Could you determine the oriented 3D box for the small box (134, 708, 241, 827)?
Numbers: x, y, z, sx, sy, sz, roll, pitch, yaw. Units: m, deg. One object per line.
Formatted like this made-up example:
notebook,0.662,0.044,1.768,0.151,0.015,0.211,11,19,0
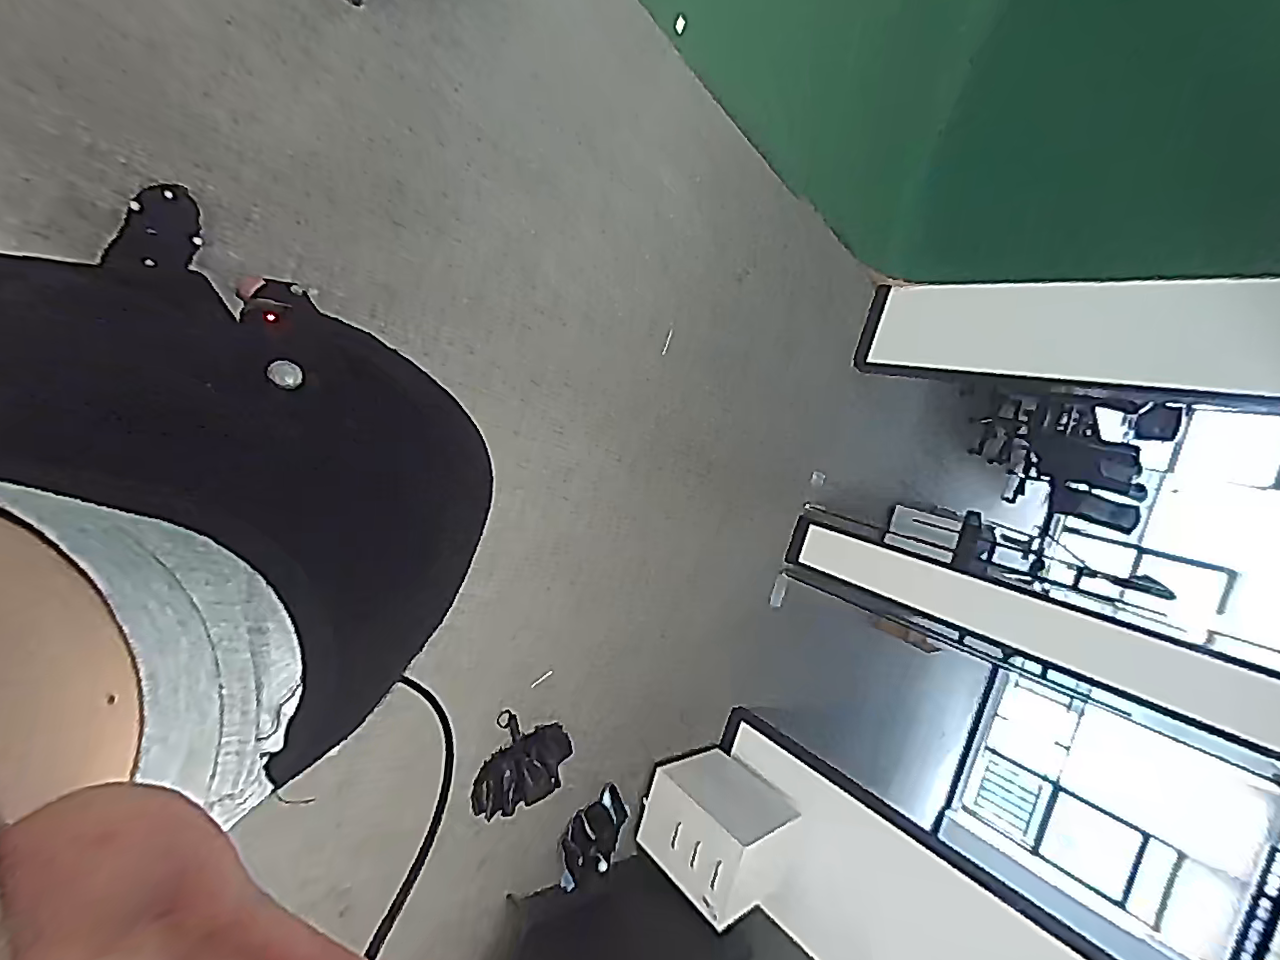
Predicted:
small box,-1.094,0.683,1.305,0.168,0.176,0.179,13,94,-46
